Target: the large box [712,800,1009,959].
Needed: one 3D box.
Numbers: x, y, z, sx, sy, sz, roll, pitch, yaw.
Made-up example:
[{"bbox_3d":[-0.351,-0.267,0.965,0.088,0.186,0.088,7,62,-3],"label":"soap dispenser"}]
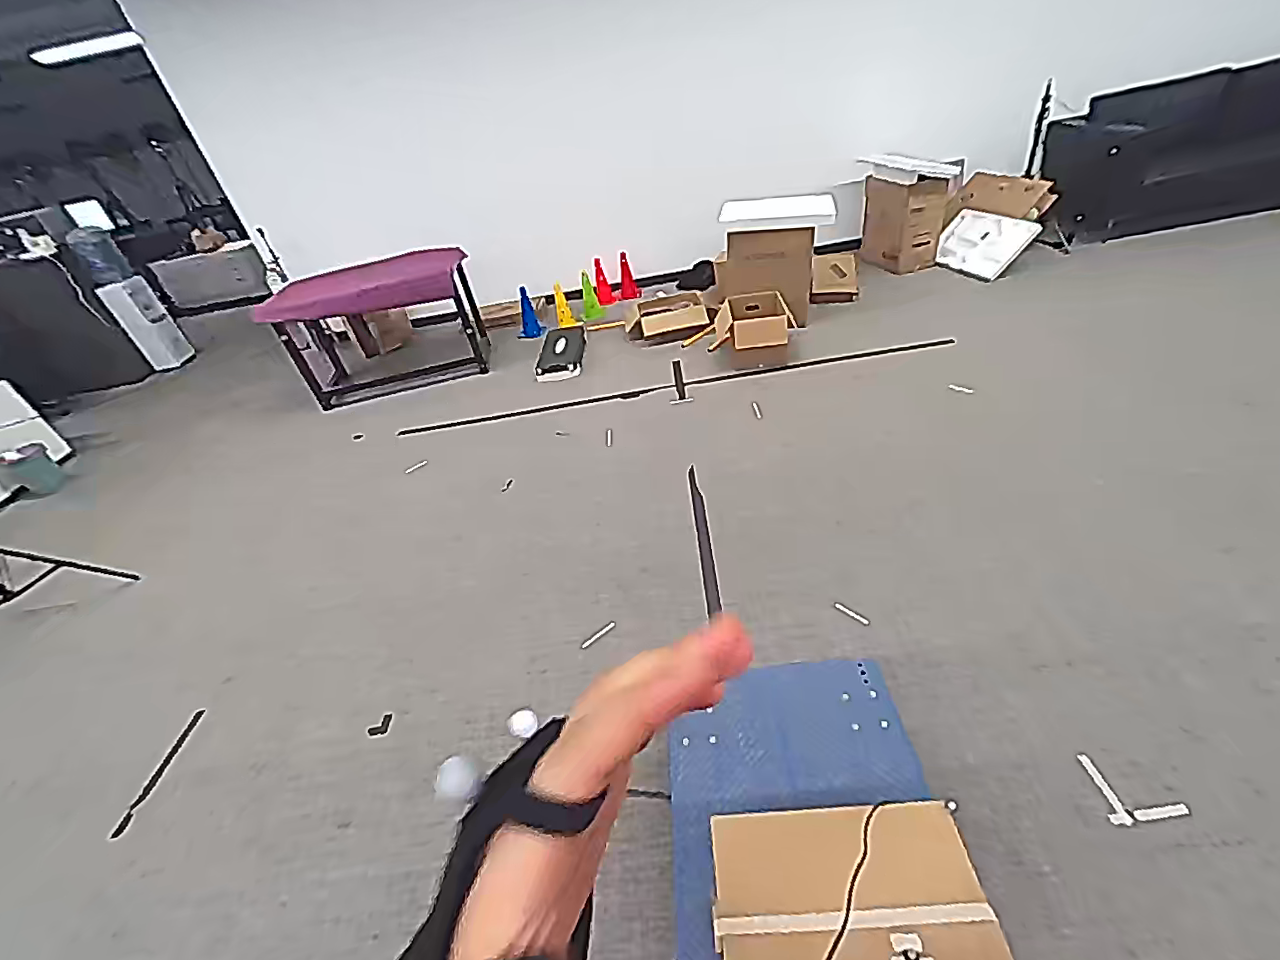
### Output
[{"bbox_3d":[0.348,0.788,0.916,0.408,0.320,0.320,-7,38,5],"label":"large box"}]
